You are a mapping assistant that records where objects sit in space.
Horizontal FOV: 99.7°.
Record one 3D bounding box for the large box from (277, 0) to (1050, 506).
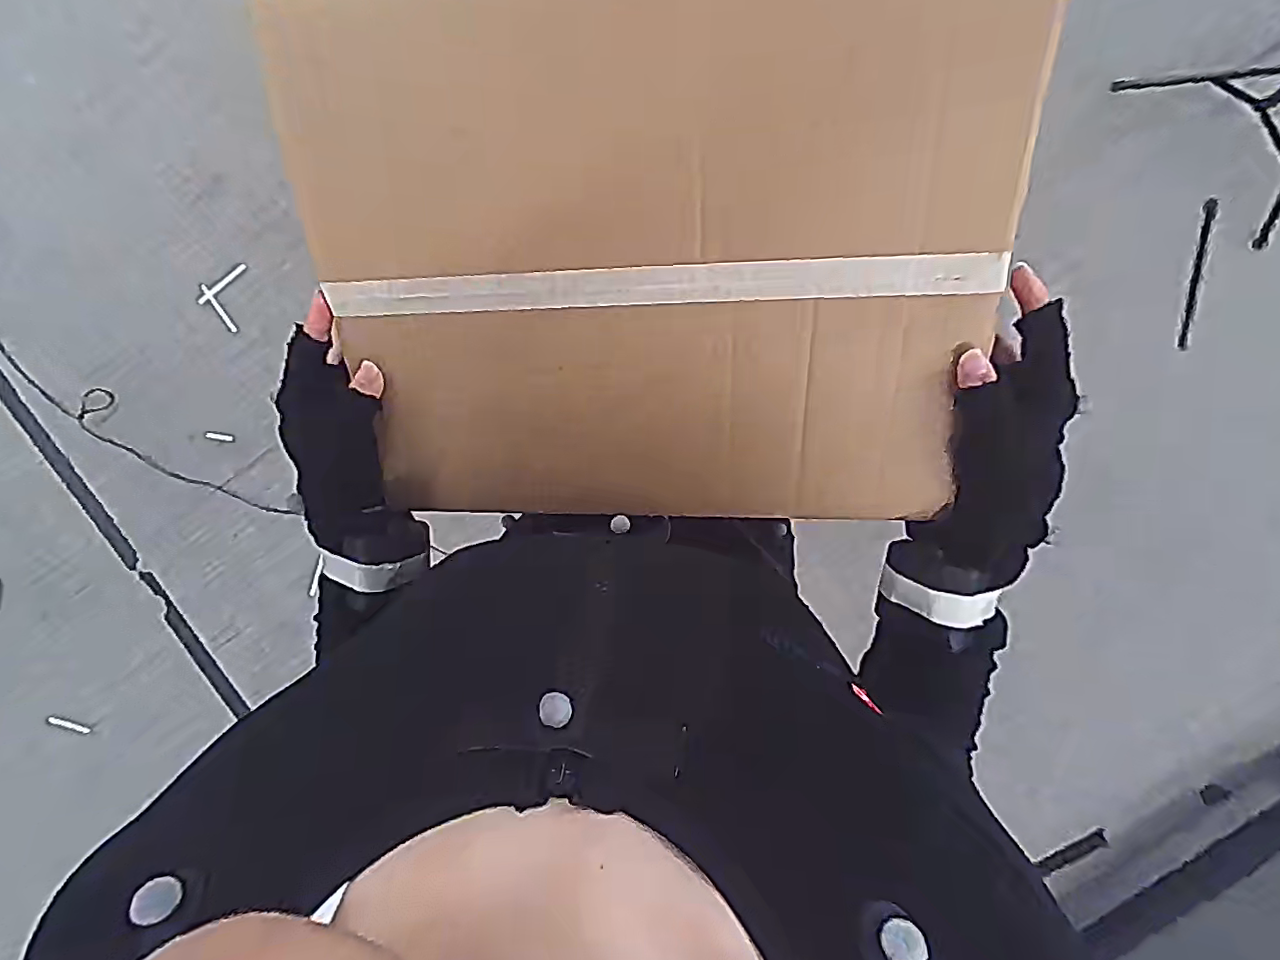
[{"bbox_3d":[0.020,-0.184,0.465,0.408,0.320,0.320,1,117,7],"label":"large box"}]
